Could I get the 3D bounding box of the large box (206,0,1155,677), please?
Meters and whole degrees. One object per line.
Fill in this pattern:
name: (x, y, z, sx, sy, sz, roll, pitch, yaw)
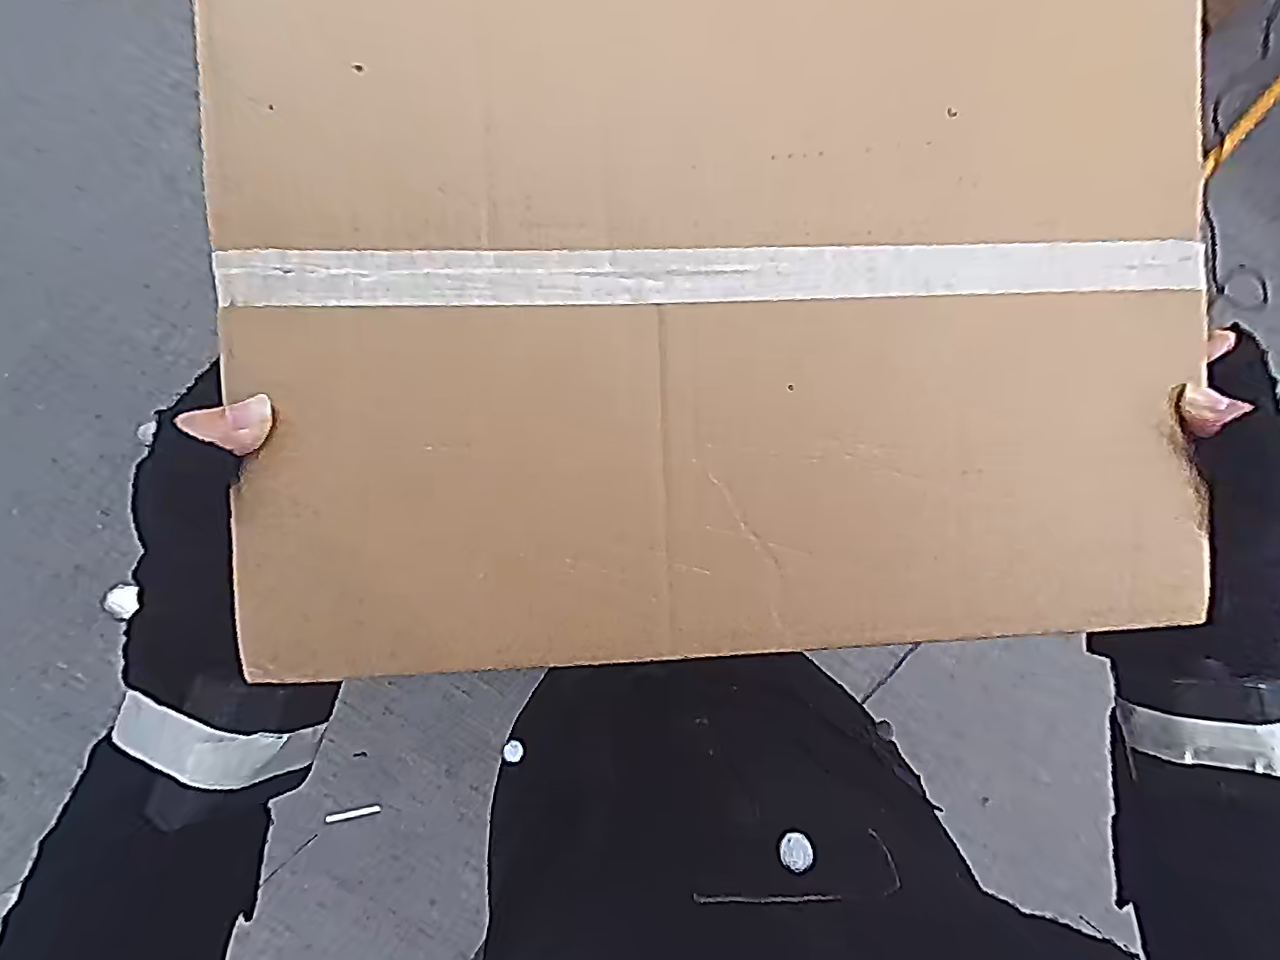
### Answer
large box: (0.024, -0.090, 0.381, 0.408, 0.320, 0.320, -3, 92, -4)
